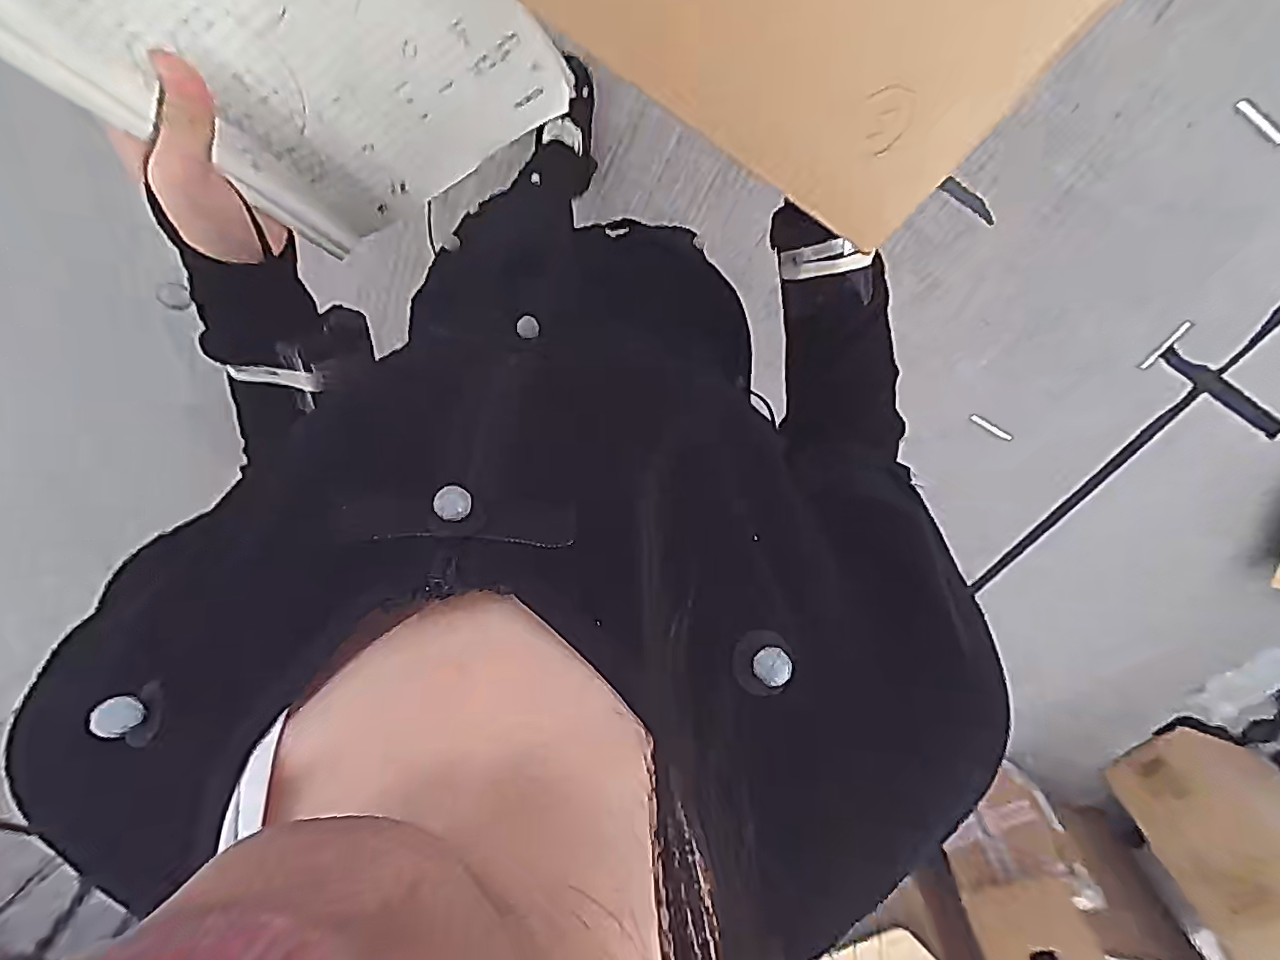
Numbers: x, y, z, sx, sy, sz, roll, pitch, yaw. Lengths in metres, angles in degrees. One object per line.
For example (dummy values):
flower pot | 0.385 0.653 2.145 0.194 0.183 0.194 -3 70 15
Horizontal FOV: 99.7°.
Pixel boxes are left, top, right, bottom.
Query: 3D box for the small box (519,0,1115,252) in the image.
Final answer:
small box | 0.071 -0.229 0.192 0.168 0.176 0.179 23 134 -22
